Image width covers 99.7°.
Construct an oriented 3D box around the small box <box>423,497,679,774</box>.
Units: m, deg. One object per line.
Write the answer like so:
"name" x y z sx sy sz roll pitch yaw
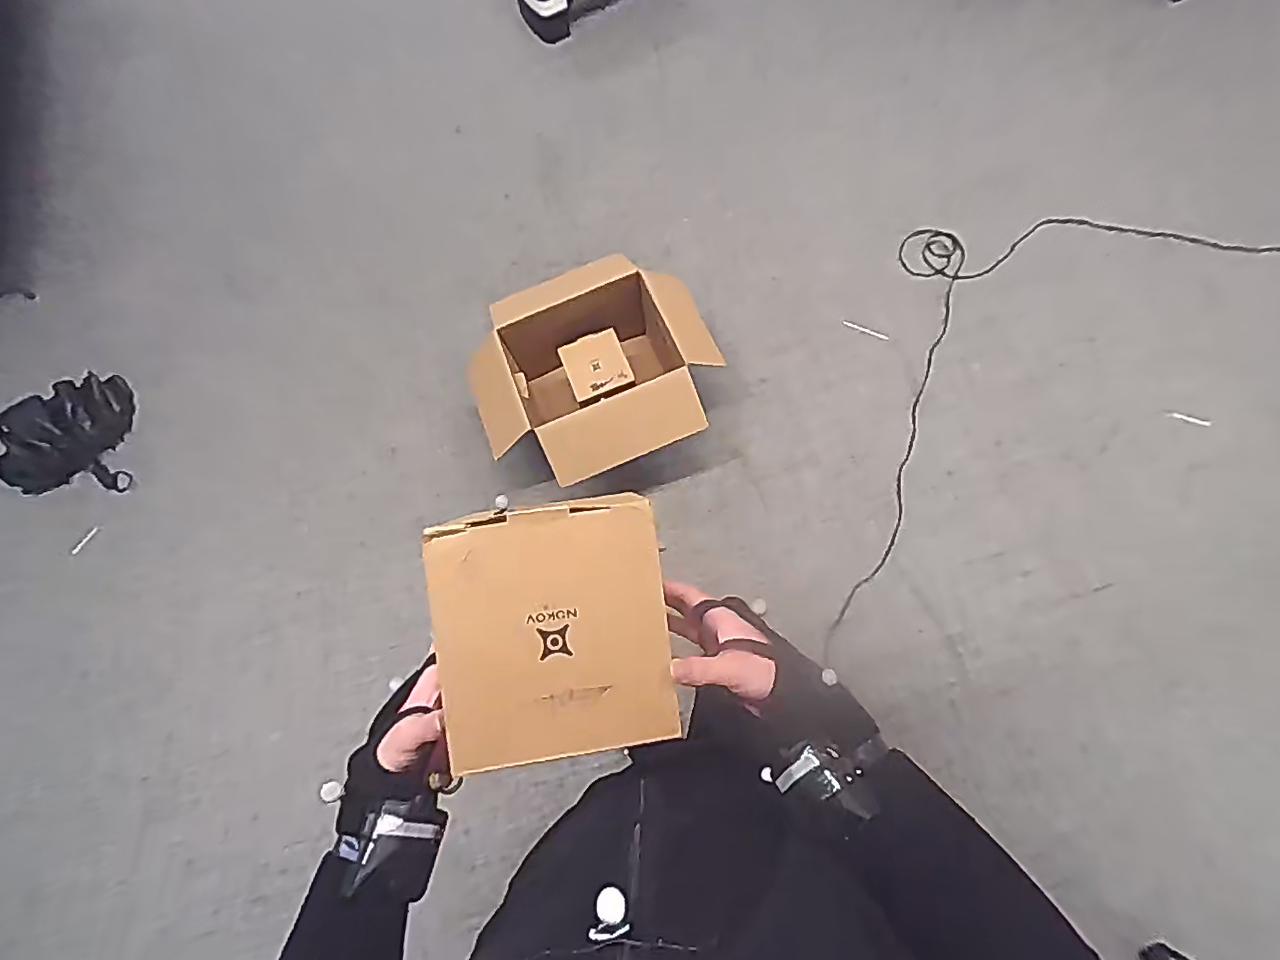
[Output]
"small box" -0.069 0.109 0.460 0.168 0.176 0.179 -7 92 -5
